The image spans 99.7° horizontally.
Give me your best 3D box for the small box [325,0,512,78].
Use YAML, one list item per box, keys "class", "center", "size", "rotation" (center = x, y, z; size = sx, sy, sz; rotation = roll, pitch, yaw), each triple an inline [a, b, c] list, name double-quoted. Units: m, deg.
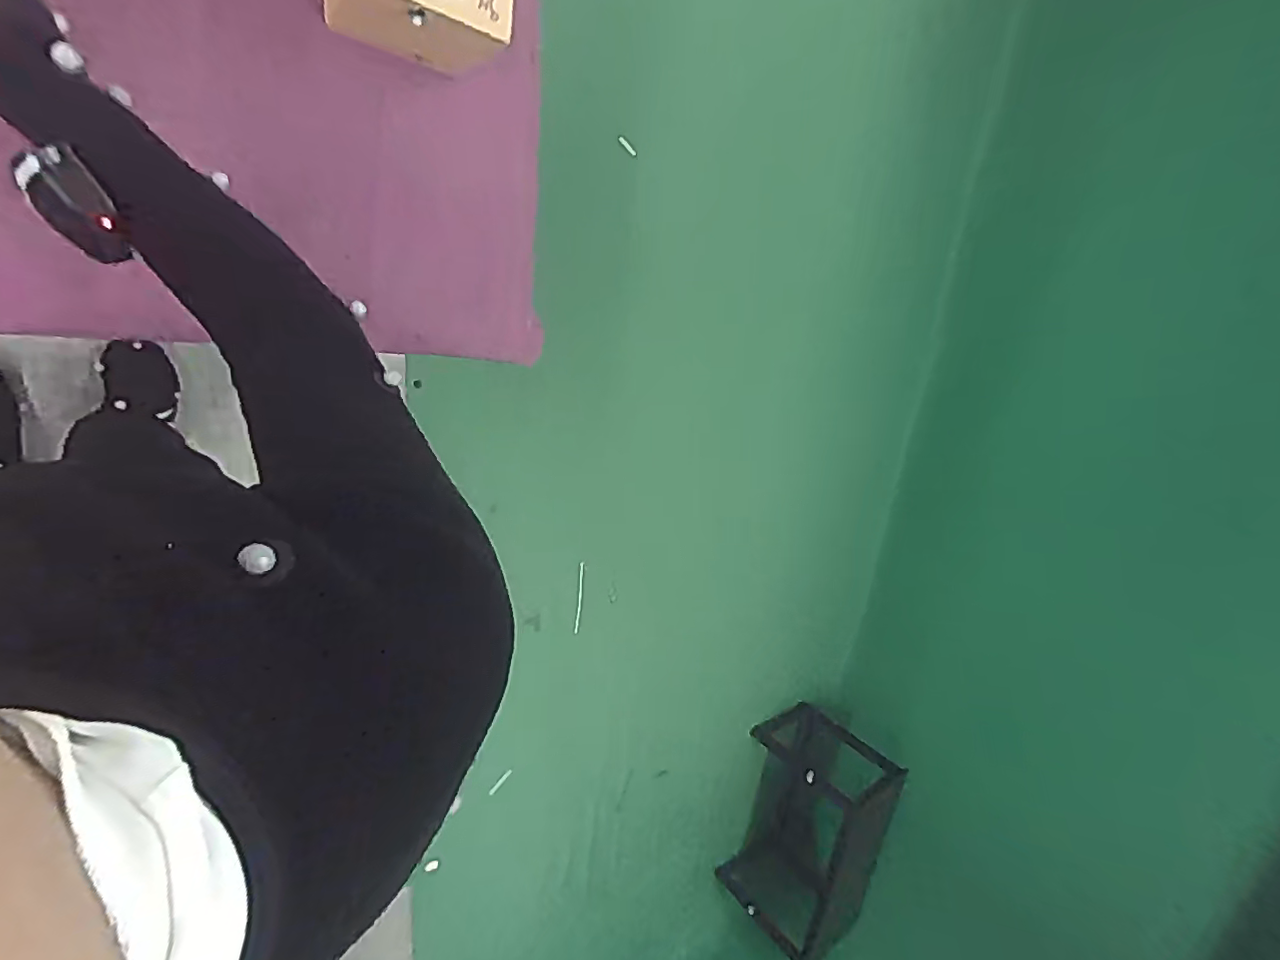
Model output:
- class: "small box"
  center: [-0.256, -0.607, 0.618]
  size: [0.168, 0.176, 0.179]
  rotation: [-5, 110, -38]
